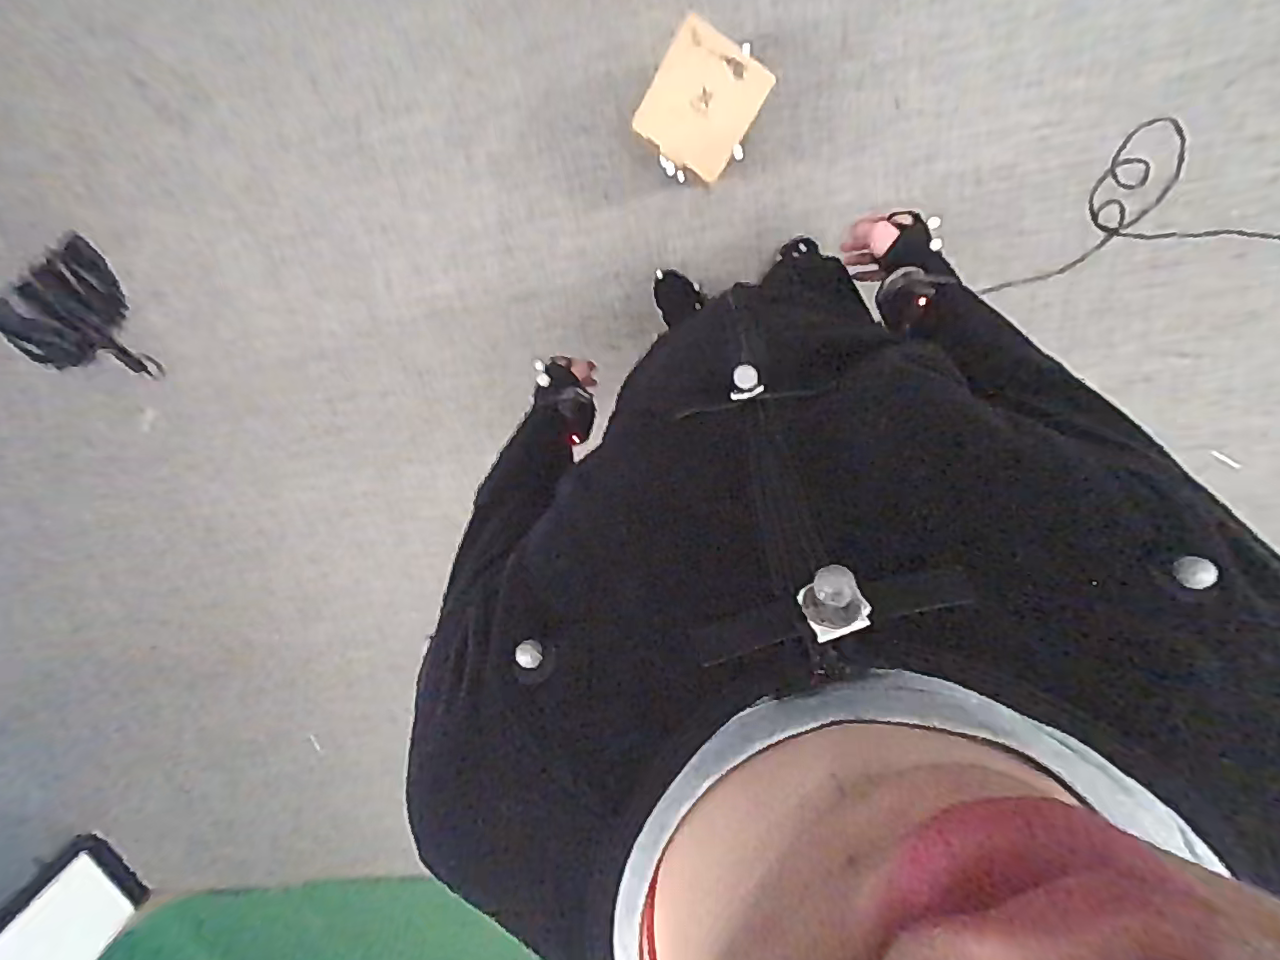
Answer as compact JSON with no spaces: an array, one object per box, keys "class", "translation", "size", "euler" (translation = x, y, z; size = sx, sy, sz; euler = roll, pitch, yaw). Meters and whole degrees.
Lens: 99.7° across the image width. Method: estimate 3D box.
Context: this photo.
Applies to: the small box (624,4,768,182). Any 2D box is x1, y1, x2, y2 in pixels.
[{"class":"small box","translation":[0.095,-0.640,0.925],"size":[0.168,0.176,0.179],"euler":[32,114,-10]}]
